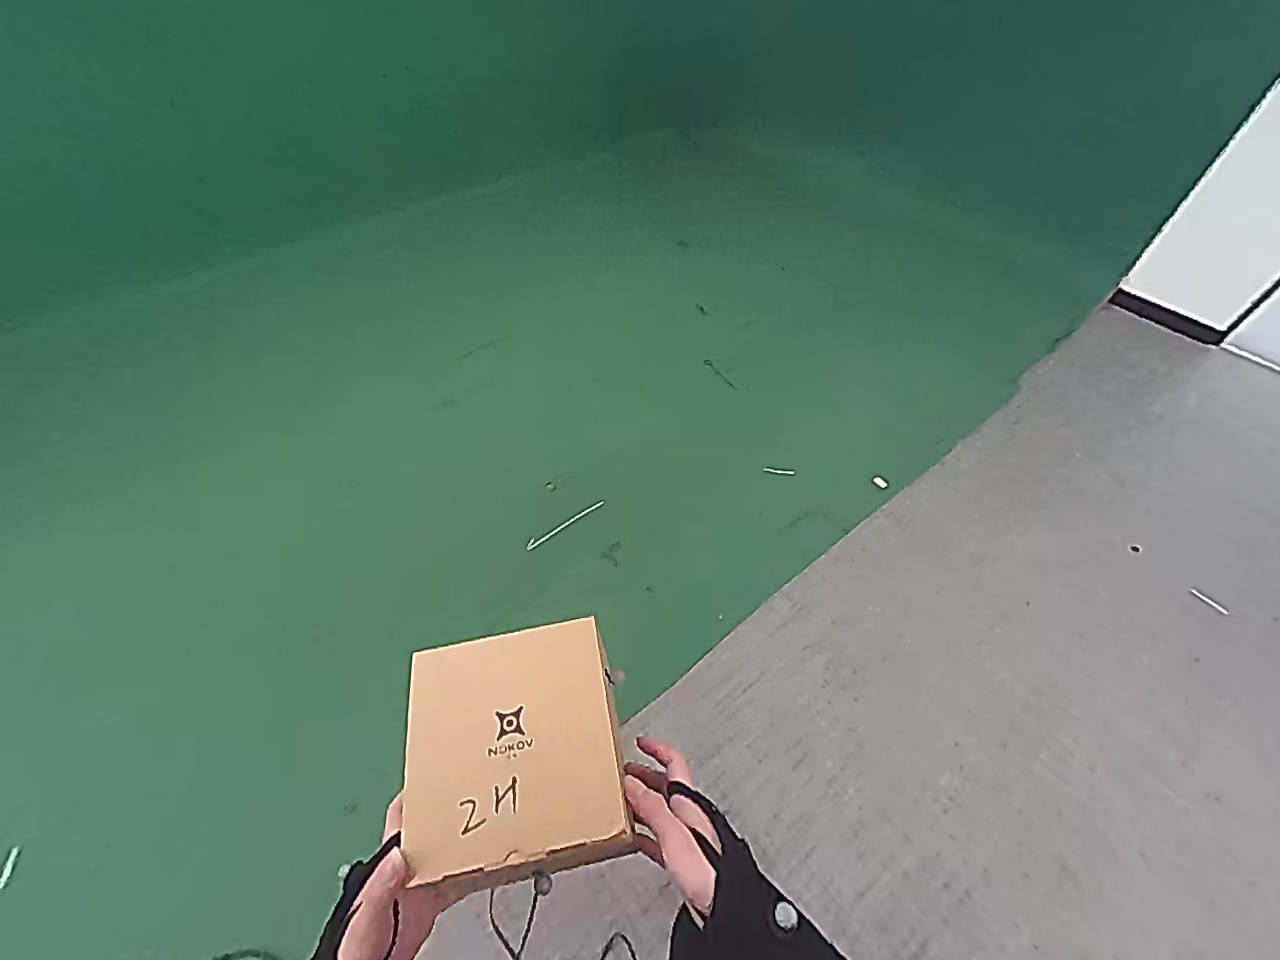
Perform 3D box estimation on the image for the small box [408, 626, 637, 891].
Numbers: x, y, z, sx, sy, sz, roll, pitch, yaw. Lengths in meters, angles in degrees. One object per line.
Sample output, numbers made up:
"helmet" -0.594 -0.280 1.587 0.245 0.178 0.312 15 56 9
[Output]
"small box" -0.097 0.263 0.508 0.168 0.176 0.179 -9 52 -4
